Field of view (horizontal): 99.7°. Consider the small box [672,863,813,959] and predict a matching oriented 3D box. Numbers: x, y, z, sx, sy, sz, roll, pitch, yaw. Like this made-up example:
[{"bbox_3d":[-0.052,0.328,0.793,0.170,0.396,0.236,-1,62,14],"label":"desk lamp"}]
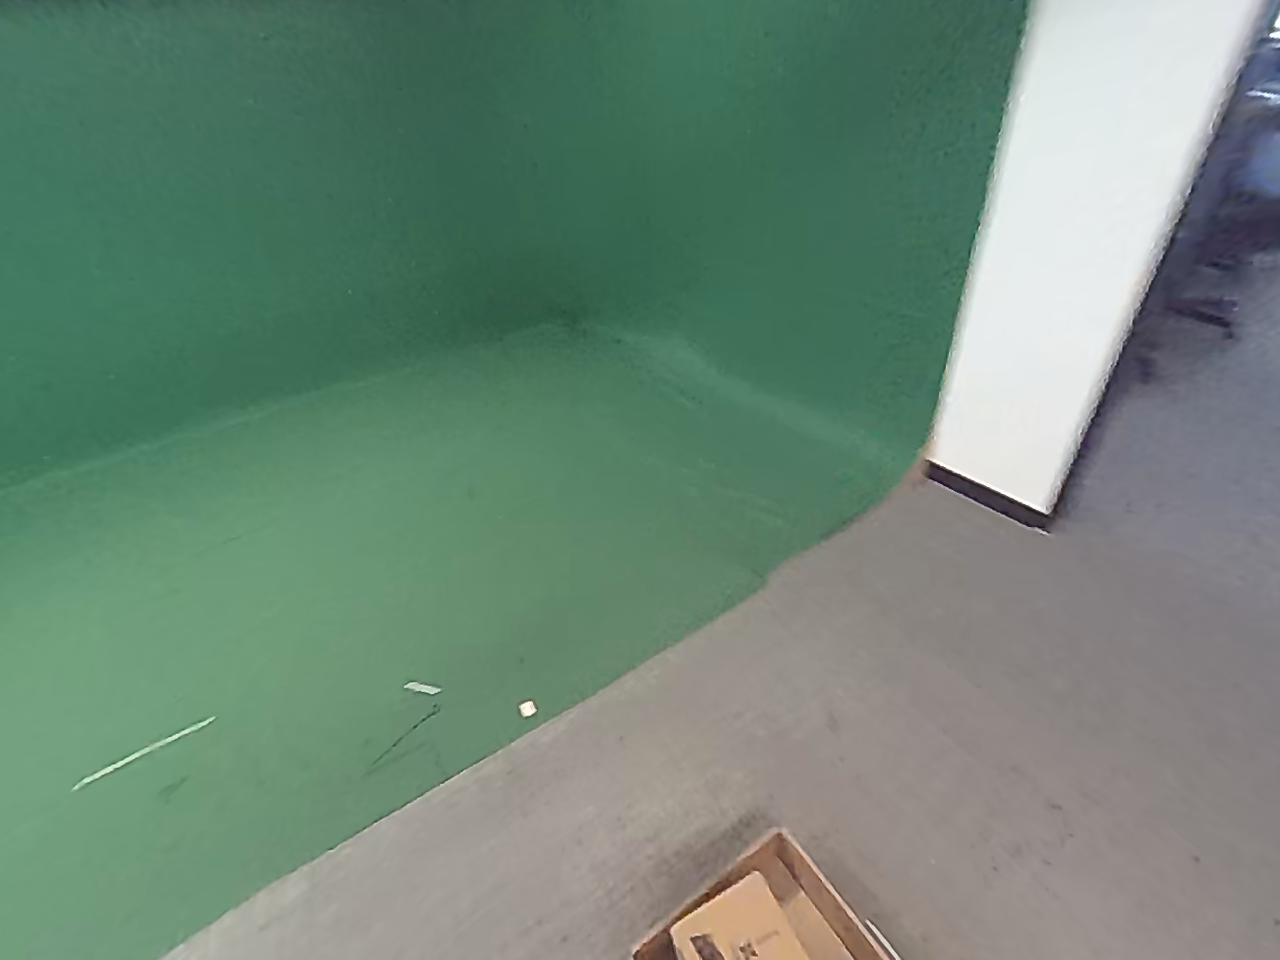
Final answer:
[{"bbox_3d":[0.170,0.796,0.900,0.179,0.176,0.168,-20,39,-17],"label":"small box"}]
